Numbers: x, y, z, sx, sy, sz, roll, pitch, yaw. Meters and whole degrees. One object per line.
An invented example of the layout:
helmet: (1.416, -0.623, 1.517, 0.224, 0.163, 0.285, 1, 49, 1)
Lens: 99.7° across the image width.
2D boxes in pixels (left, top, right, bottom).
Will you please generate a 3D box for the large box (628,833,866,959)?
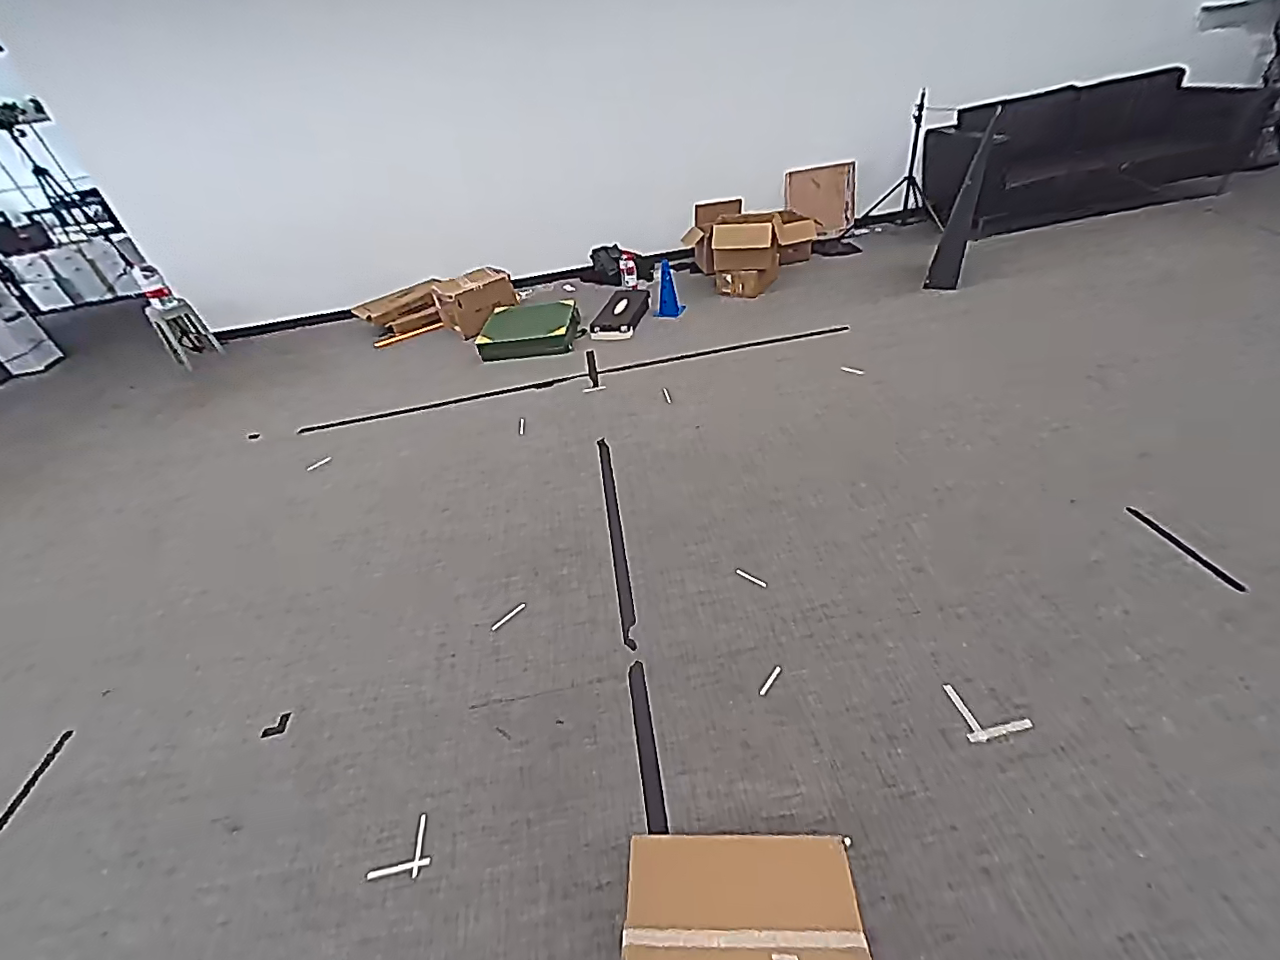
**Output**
large box: (0.192, 0.901, 1.021, 0.408, 0.320, 0.320, -4, 38, 6)
